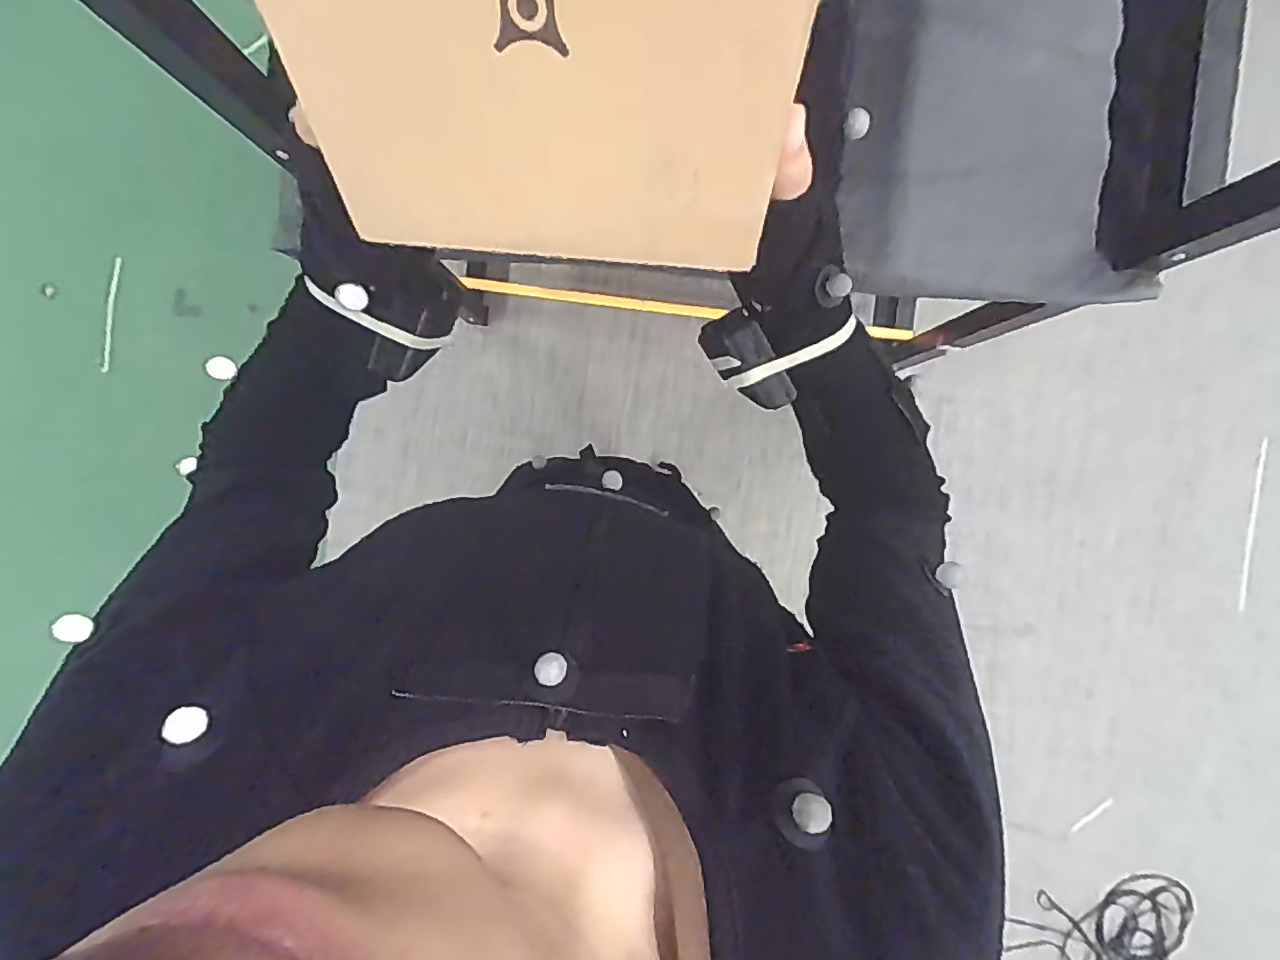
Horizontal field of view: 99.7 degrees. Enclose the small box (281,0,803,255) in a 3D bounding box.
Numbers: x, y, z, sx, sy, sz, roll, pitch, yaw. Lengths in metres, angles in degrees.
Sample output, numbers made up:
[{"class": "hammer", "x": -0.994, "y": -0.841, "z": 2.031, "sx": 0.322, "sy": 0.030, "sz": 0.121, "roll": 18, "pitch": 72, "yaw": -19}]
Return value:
[{"class": "small box", "x": -0.024, "y": -0.218, "z": 0.203, "sx": 0.168, "sy": 0.179, "sz": 0.176, "roll": 5, "pitch": 58, "yaw": 0}]
